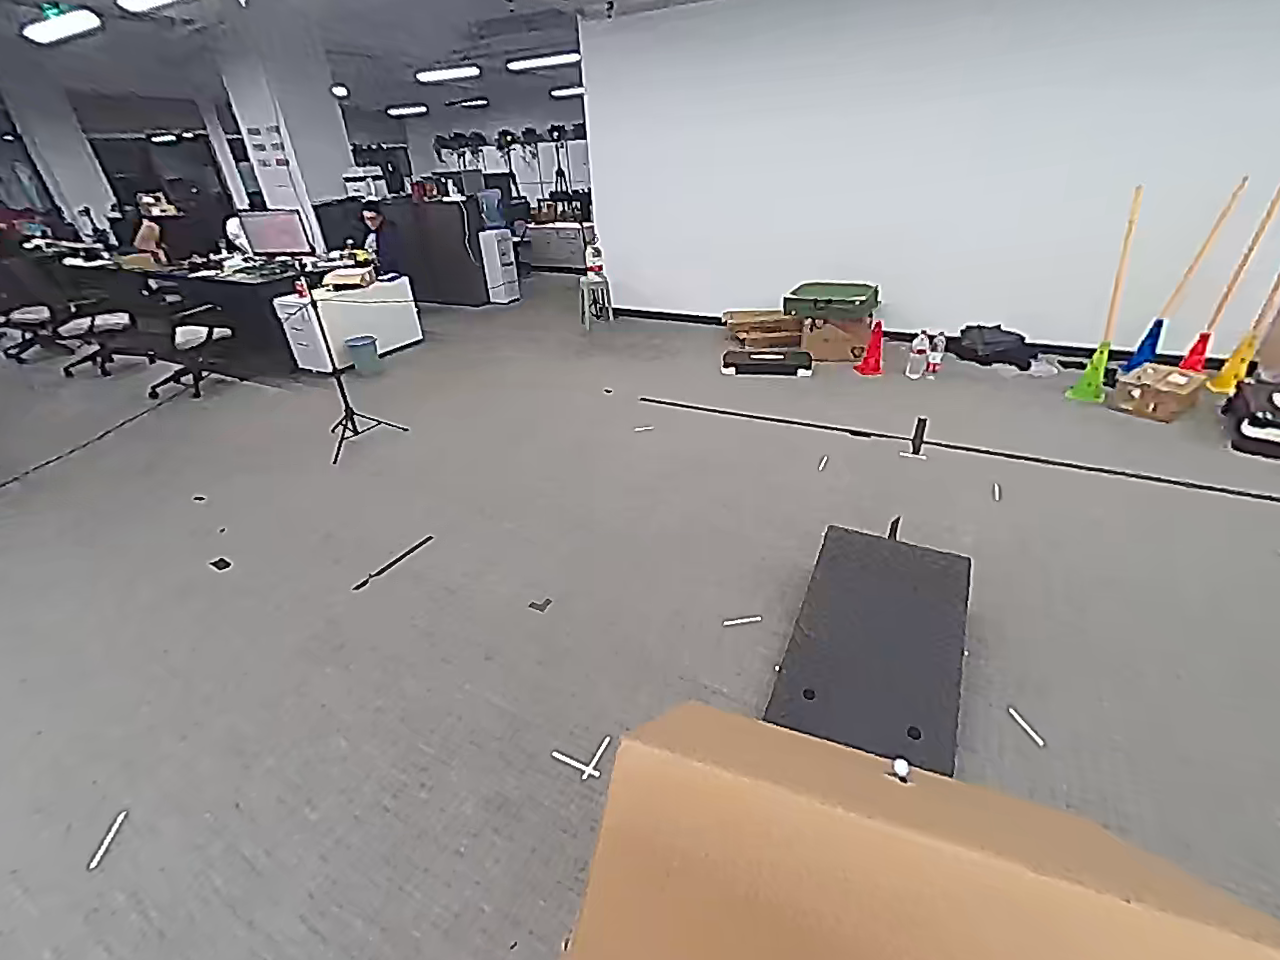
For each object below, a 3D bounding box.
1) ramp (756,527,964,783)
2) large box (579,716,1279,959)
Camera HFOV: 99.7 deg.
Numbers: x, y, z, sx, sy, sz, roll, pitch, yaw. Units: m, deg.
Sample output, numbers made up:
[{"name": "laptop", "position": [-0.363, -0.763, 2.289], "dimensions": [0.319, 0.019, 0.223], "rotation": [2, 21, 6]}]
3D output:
[{"name": "ramp", "position": [0.712, 0.549, 1.688], "dimensions": [0.509, 0.206, 0.991], "rotation": [13, 35, 22]}, {"name": "large box", "position": [0.174, 0.400, 0.409], "dimensions": [0.408, 0.320, 0.320], "rotation": [10, 76, 16]}]
